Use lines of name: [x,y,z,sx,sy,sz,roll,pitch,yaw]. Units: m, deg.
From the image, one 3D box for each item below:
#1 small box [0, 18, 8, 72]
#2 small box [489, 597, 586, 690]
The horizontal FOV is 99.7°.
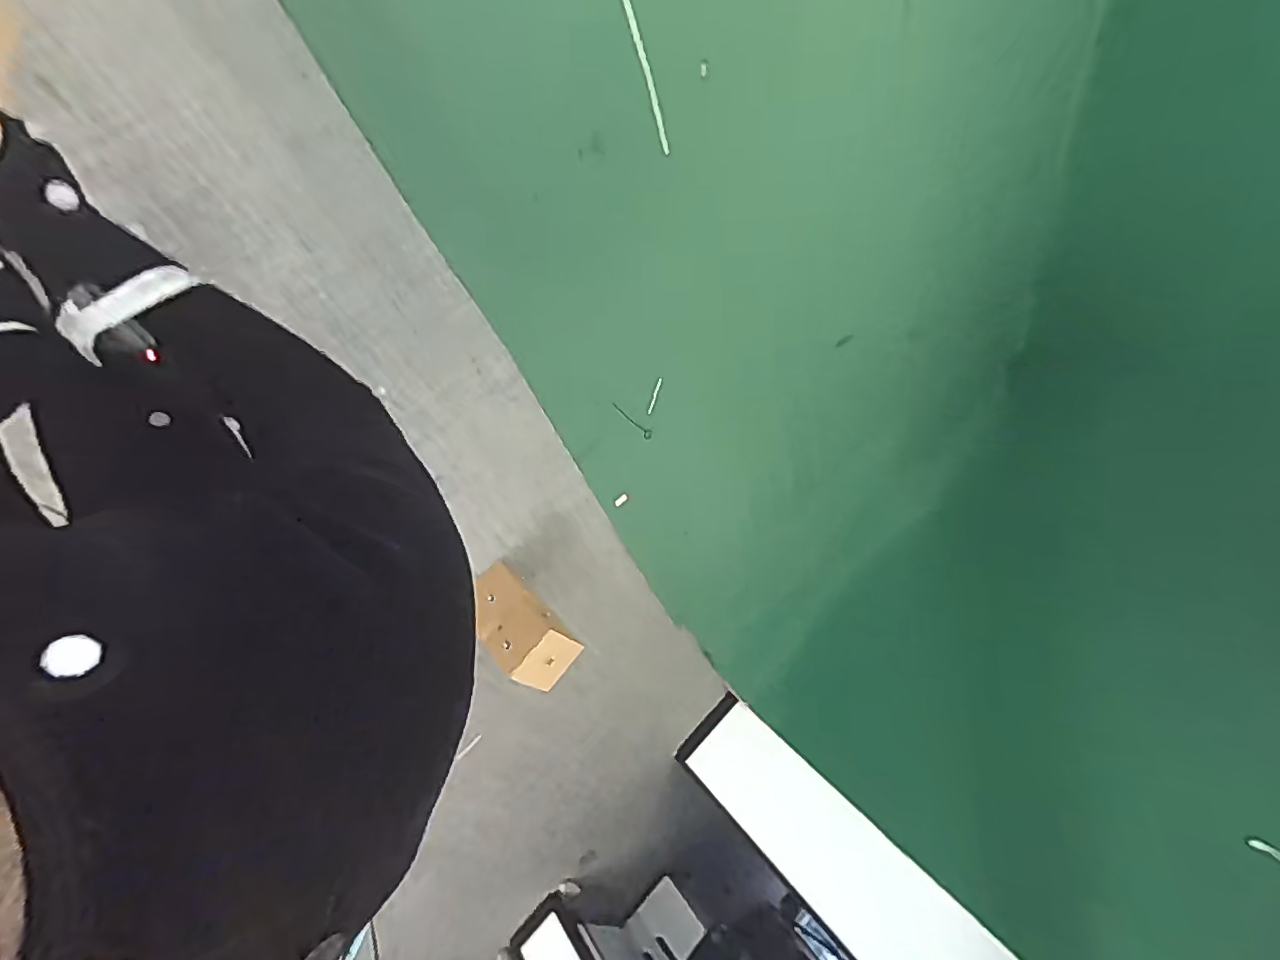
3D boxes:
small box: [-0.565,-0.293,0.332,0.168,0.176,0.179,-23,156,5]
small box: [-0.292,0.457,1.525,0.168,0.176,0.179,-49,139,-6]
